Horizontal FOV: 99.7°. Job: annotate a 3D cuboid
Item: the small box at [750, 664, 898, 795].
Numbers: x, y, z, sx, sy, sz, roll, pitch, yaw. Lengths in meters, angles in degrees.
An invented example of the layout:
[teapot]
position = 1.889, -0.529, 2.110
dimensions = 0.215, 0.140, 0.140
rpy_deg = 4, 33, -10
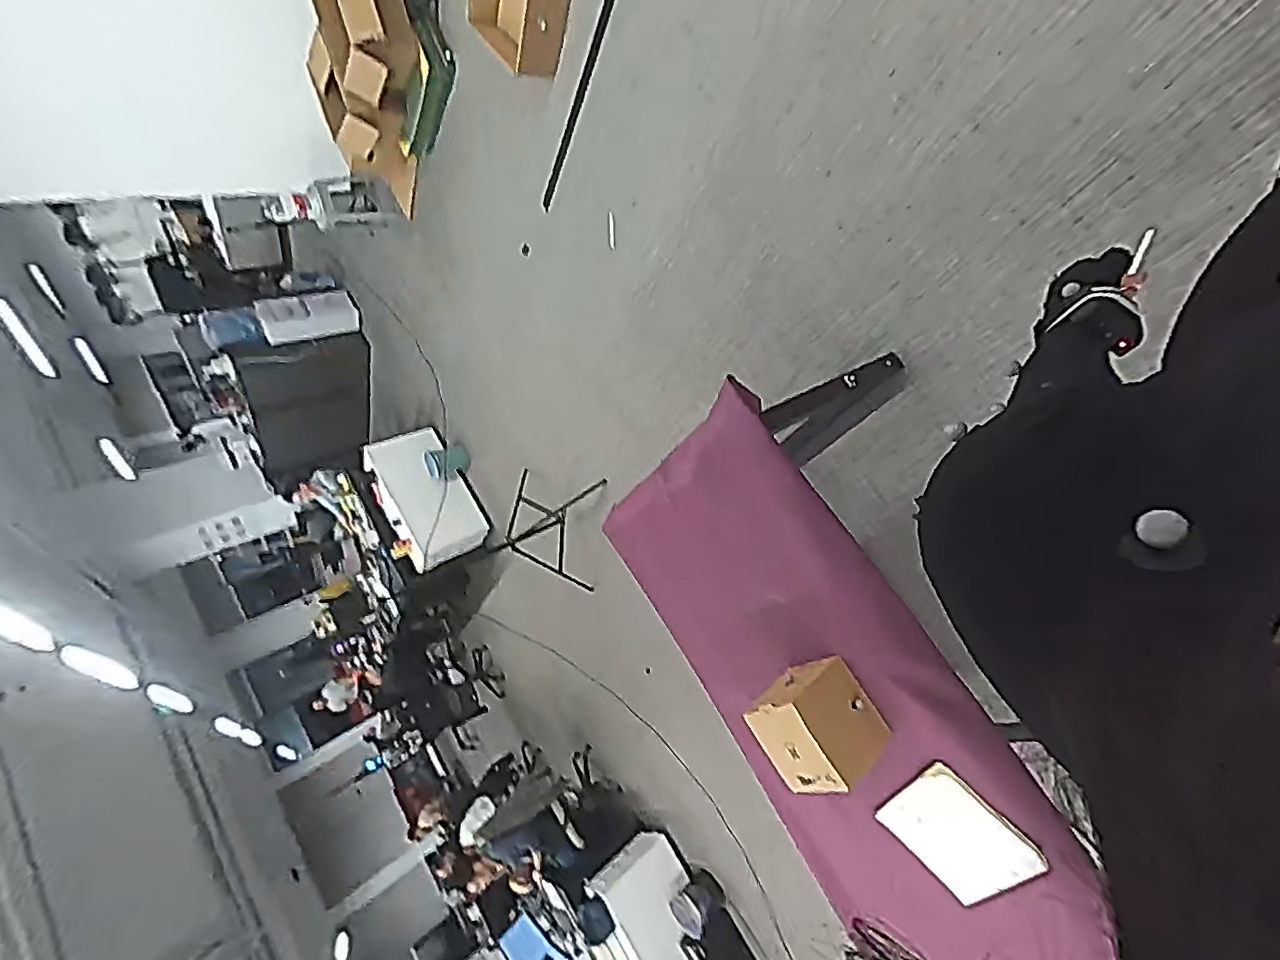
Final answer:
[small box]
position = 0.358, 0.482, 1.060
dimensions = 0.179, 0.176, 0.168
rpy_deg = 57, 145, 12
